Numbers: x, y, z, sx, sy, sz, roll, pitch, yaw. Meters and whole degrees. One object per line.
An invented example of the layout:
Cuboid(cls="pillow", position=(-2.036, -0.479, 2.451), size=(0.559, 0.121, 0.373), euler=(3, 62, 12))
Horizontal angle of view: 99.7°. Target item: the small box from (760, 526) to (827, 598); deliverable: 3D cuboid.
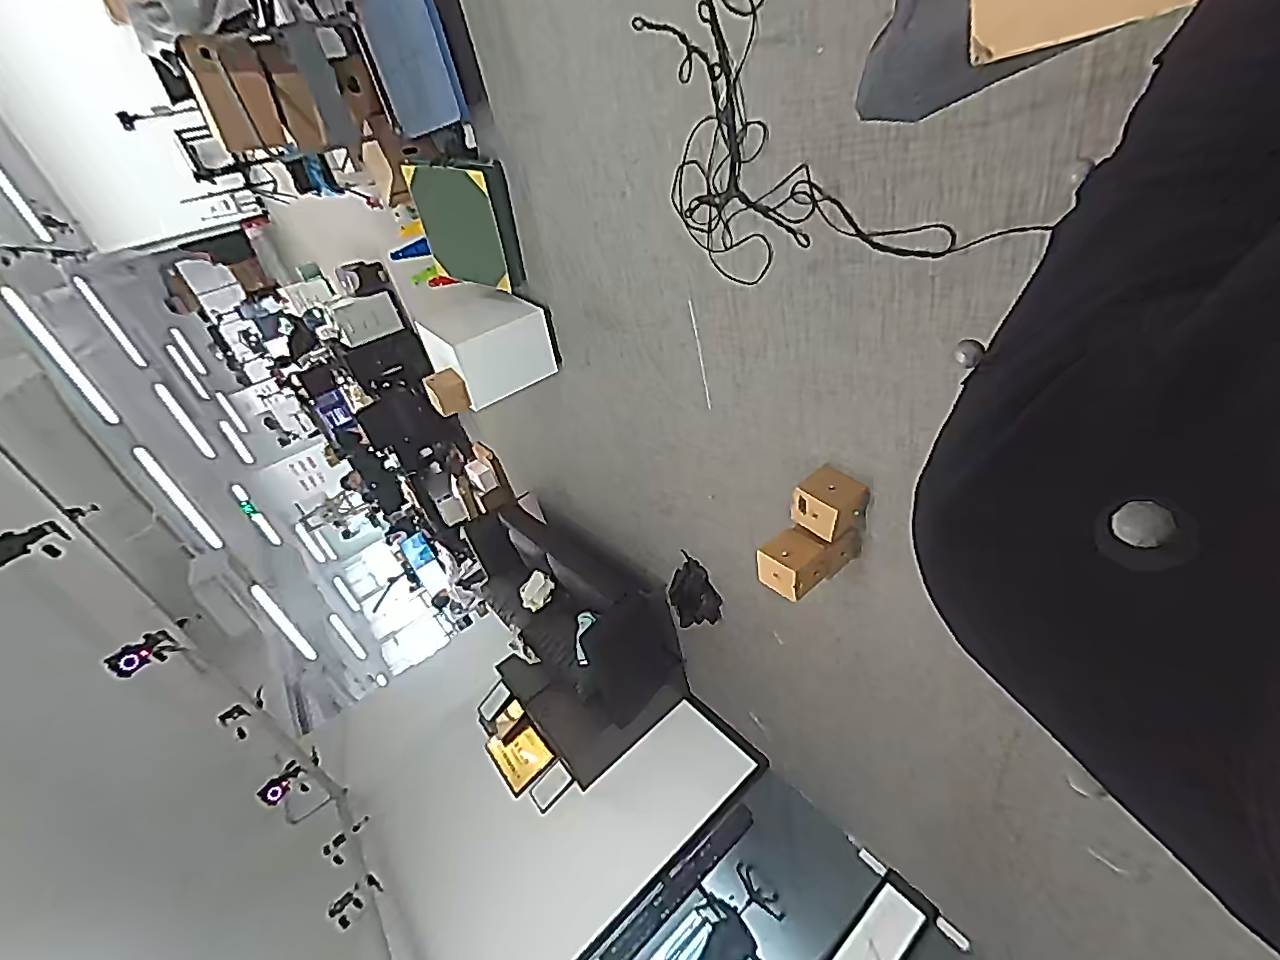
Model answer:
Cuboid(cls="small box", position=(0.567, 0.294, 2.001), size=(0.179, 0.176, 0.168), euler=(30, 143, 44))

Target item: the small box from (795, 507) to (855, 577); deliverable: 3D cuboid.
Cuboid(cls="small box", position=(0.702, 0.229, 2.067), size=(0.179, 0.176, 0.168), euler=(29, 143, 44))
